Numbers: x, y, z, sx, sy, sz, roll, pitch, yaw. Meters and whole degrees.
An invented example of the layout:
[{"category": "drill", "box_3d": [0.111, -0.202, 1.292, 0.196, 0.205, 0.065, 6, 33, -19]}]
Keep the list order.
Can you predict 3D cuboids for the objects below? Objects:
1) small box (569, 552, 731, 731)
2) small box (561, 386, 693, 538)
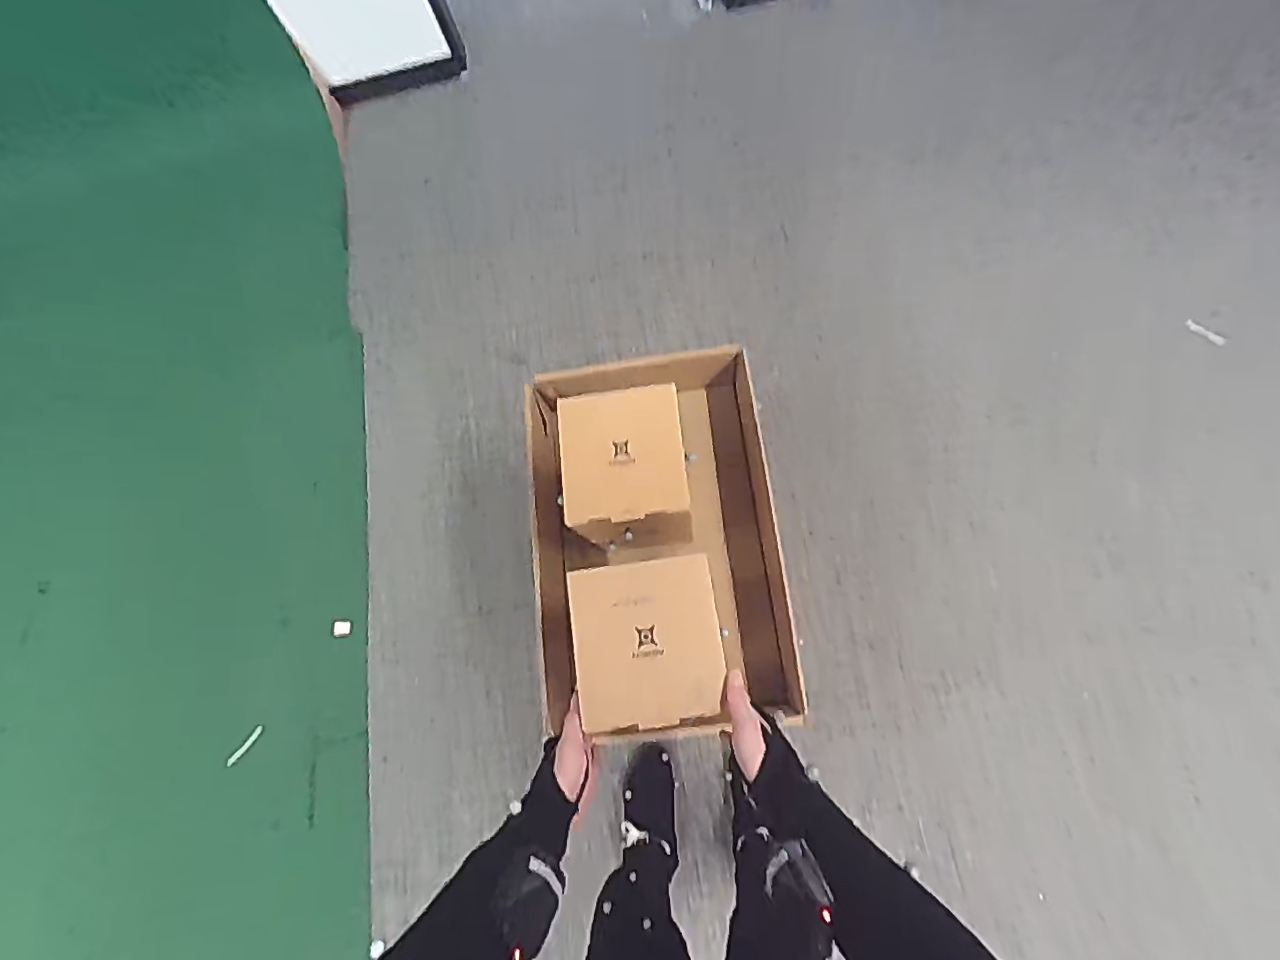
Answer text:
[{"category": "small box", "box_3d": [0.012, 0.196, 0.673, 0.168, 0.176, 0.179, -8, 73, -1]}, {"category": "small box", "box_3d": [-0.014, -0.018, 0.793, 0.168, 0.176, 0.179, -7, 77, 4]}]
